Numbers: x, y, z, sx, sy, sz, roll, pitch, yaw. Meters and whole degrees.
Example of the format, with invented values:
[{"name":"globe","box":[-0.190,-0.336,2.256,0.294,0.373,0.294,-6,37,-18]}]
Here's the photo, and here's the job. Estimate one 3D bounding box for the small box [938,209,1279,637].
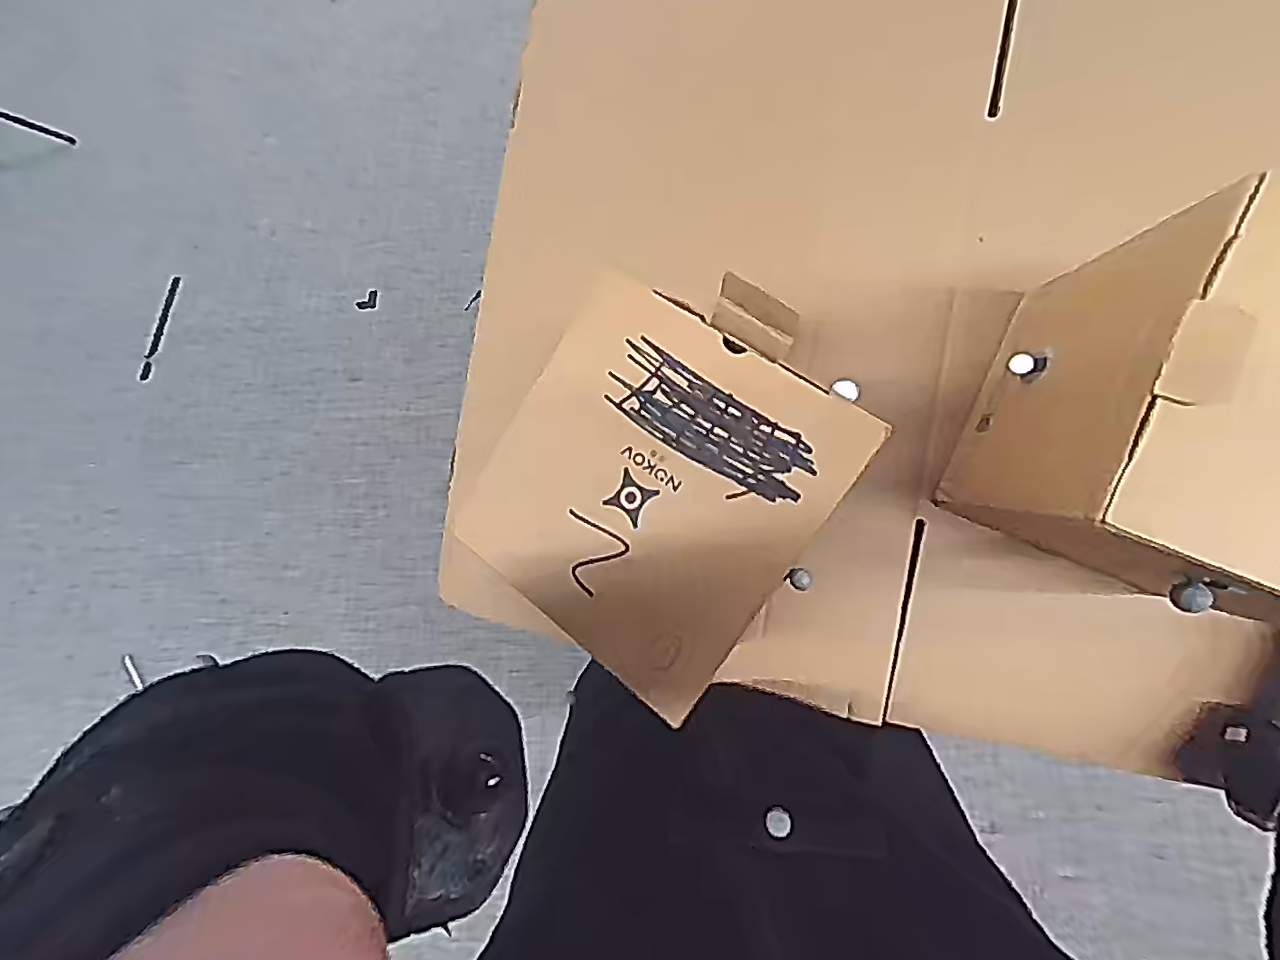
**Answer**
[{"name":"small box","box":[0.321,-0.017,0.317,0.179,0.176,0.168,23,93,6]}]
